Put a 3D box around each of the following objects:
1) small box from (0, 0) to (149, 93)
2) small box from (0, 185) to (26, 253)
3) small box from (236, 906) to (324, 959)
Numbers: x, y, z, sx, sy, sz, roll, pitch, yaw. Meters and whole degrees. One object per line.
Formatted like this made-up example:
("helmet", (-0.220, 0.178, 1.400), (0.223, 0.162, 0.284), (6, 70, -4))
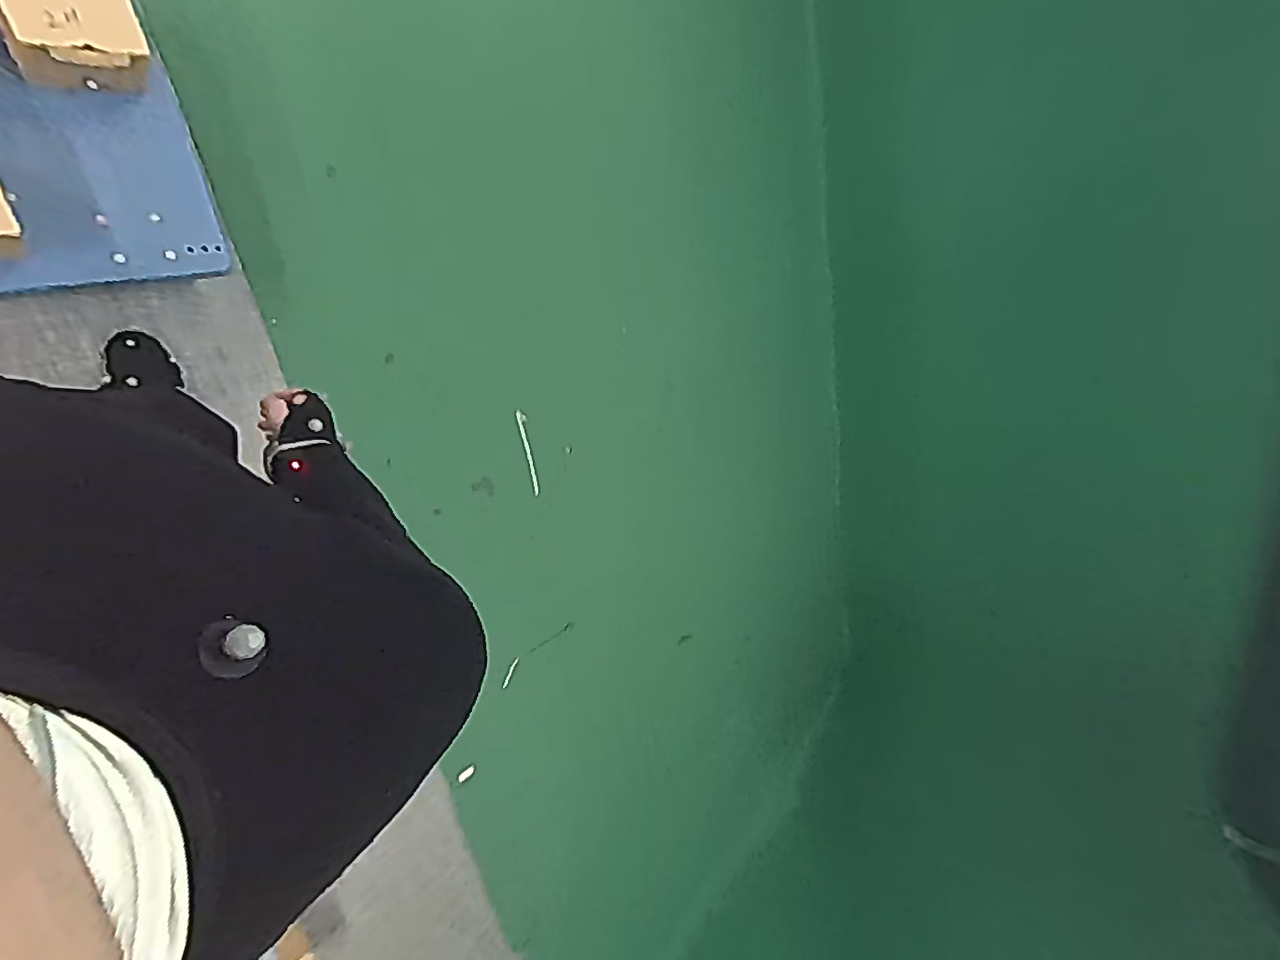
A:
("small box", (-0.974, -0.791, 0.909), (0.168, 0.176, 0.179), (-28, 116, -39))
("small box", (-1.103, -0.450, 0.832), (0.168, 0.176, 0.179), (-27, 115, -41))
("small box", (-1.000, 1.350, 1.512), (0.168, 0.176, 0.179), (-21, 112, -41))
